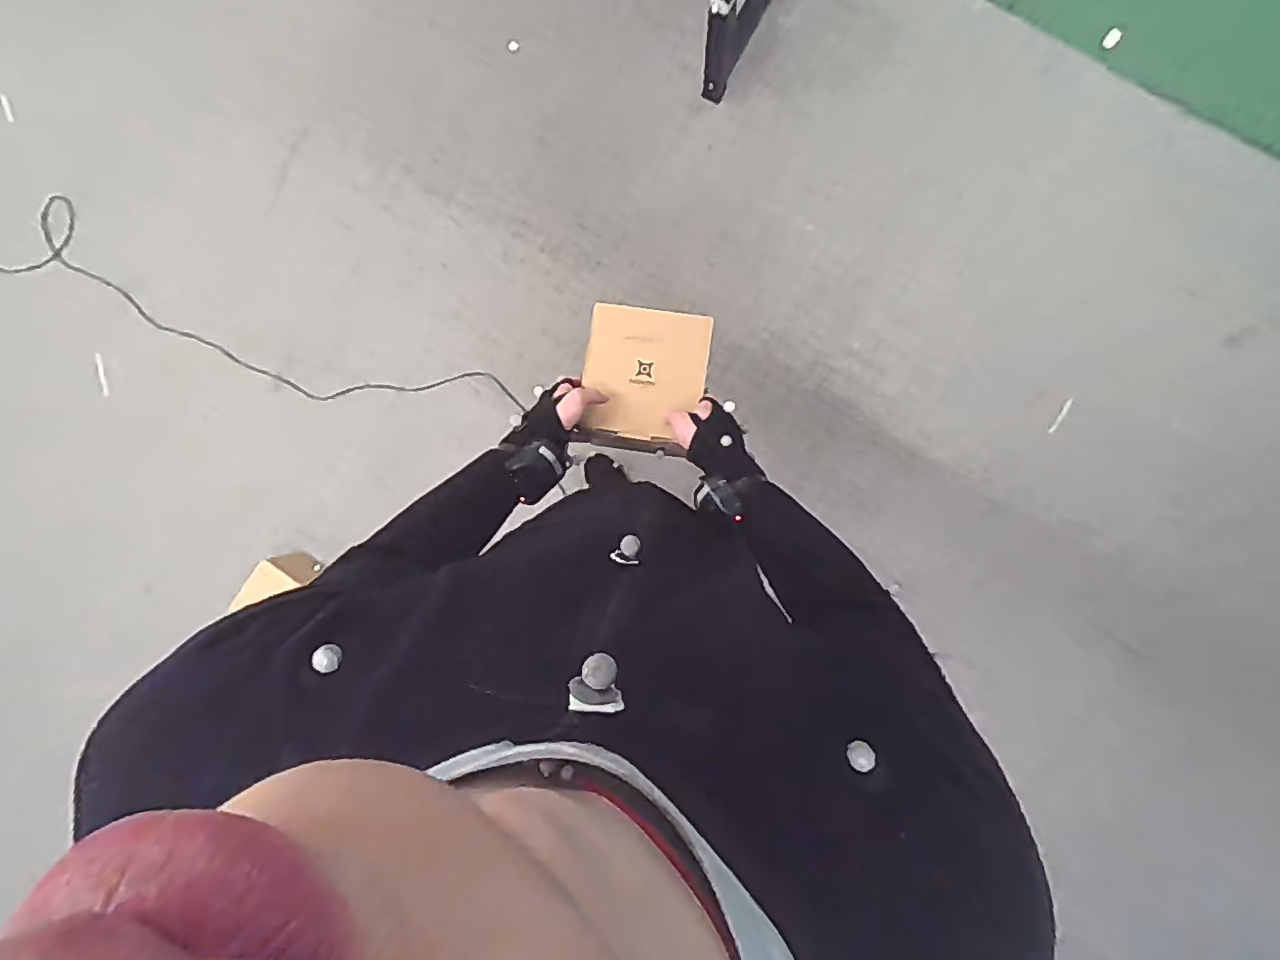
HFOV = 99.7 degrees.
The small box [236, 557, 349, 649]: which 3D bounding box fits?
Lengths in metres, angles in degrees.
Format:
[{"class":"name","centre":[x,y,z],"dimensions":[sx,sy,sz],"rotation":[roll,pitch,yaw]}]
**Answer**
[{"class":"small box","centre":[-0.966,0.338,1.521],"dimensions":[0.168,0.176,0.179],"rotation":[34,89,2]}]

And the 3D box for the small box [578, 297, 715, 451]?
[{"class":"small box","centre":[0.012,-0.146,0.802],"dimensions":[0.168,0.176,0.179],"rotation":[8,85,2]}]
